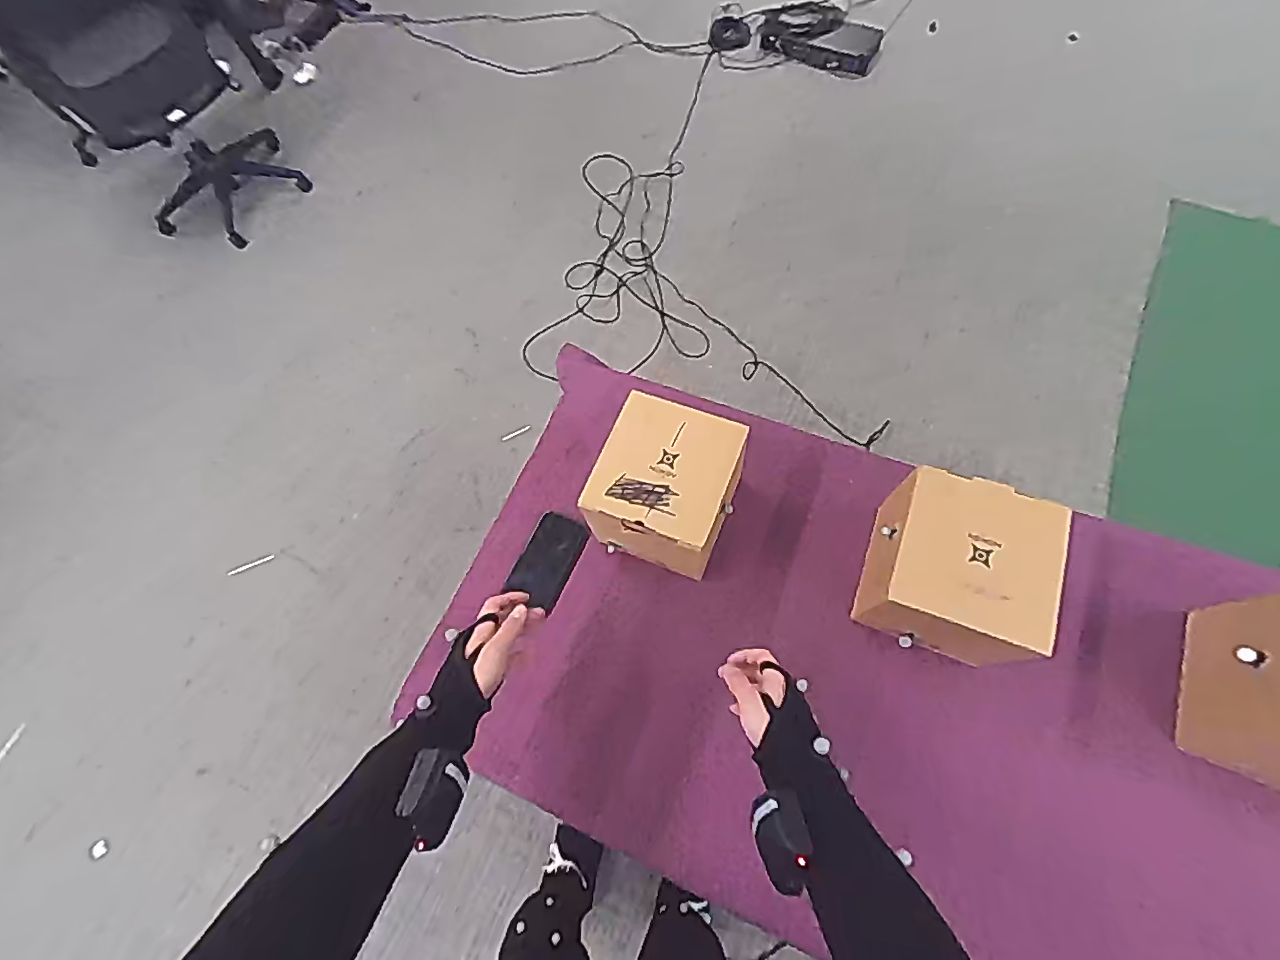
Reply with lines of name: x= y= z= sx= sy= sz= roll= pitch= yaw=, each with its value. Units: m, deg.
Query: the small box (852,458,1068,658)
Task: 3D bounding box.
small box: x=0.379 y=0.103 z=0.667 sx=0.168 sy=0.176 sz=0.179 roll=19 pitch=71 yaw=14

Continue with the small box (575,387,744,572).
small box: x=0.034 y=0.008 z=0.742 sx=0.168 sy=0.176 sz=0.179 roll=19 pitch=70 yaw=13

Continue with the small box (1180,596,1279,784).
small box: x=0.734 y=0.231 z=0.573 sx=0.168 sy=0.176 sz=0.179 roll=21 pitch=71 yaw=15
